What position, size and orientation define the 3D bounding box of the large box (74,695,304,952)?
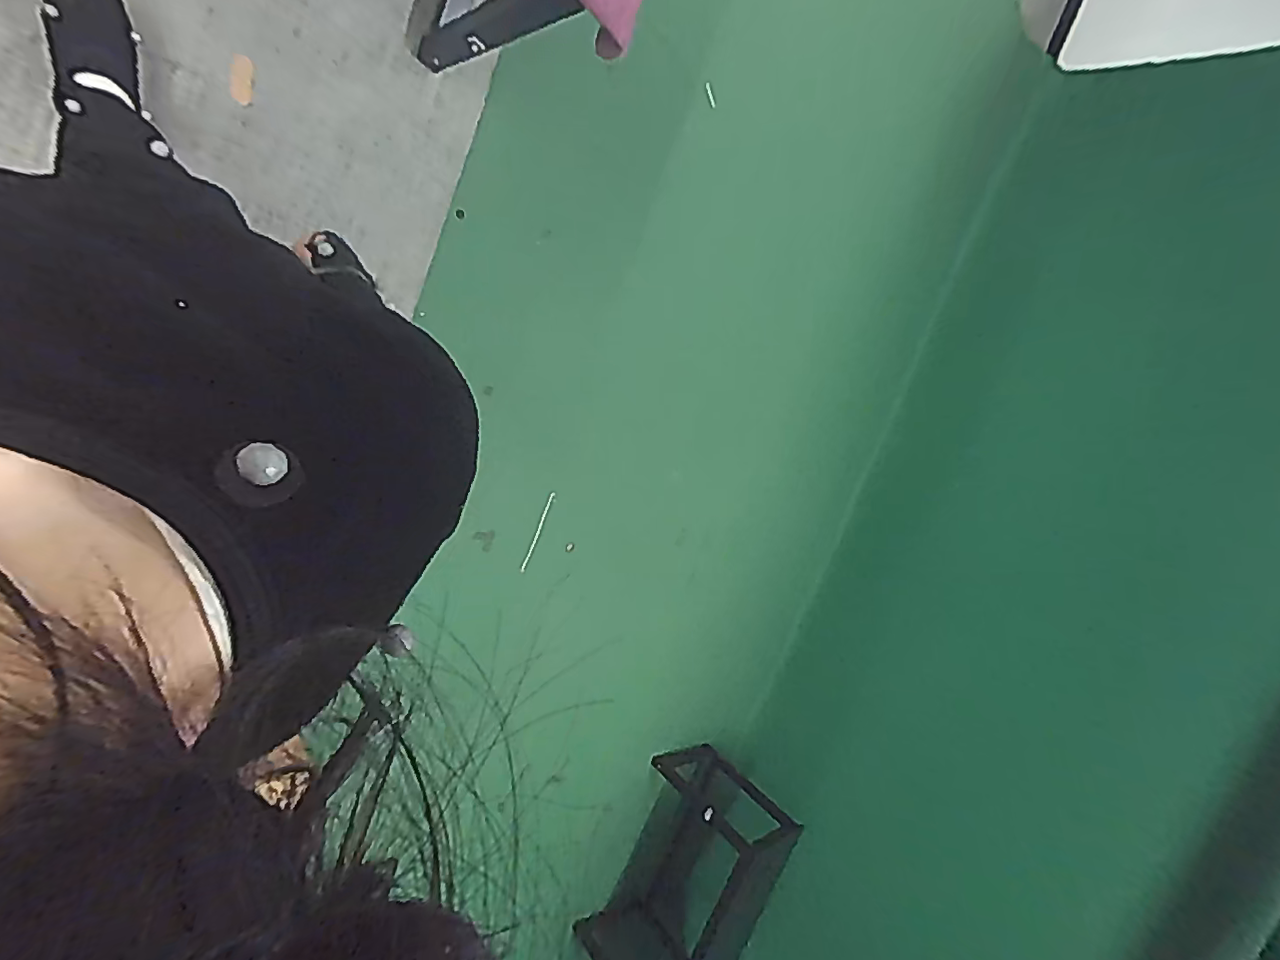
[{"bbox_3d":[-1.116,0.817,1.358,0.408,0.320,0.320,-6,115,-45],"label":"large box"}]
